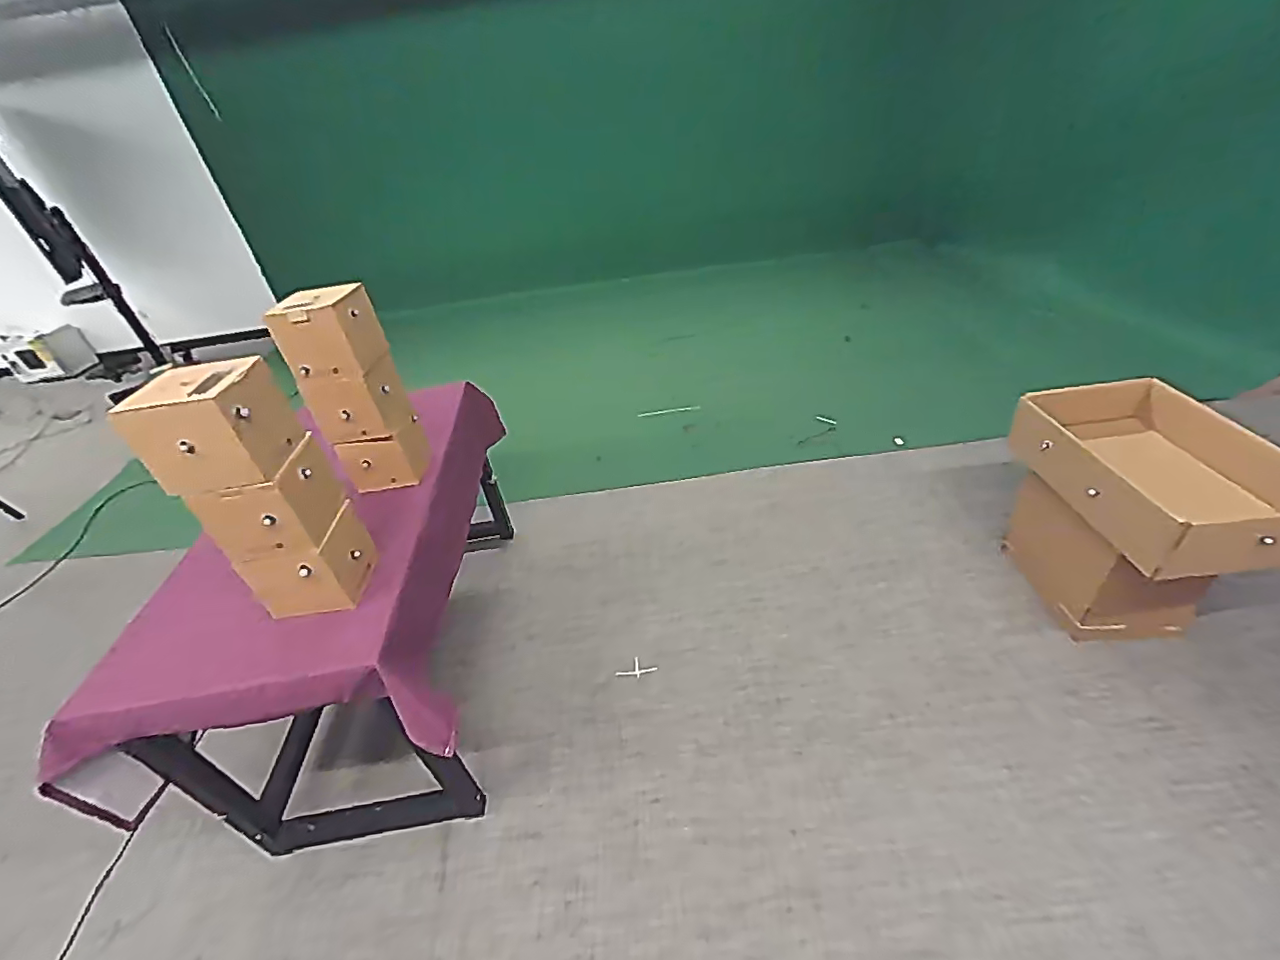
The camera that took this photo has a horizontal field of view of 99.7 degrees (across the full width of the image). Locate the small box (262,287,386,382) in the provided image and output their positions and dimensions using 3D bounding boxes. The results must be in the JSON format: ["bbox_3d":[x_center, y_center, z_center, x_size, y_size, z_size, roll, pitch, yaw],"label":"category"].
[{"bbox_3d":[-0.740,-0.343,1.294,0.168,0.176,0.179,-7,35,4],"label":"small box"}]

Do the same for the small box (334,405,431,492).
[{"bbox_3d":[-0.697,-0.080,1.487,0.168,0.176,0.179,-9,36,0],"label":"small box"}]

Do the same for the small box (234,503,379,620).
[{"bbox_3d":[-0.686,0.173,1.143,0.179,0.176,0.168,-9,36,2],"label":"small box"}]

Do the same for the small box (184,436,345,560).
[{"bbox_3d":[-0.710,0.041,1.050,0.168,0.176,0.179,-9,36,0],"label":"small box"}]

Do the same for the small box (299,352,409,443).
[{"bbox_3d":[-0.718,-0.206,1.384,0.168,0.176,0.179,-7,37,3],"label":"small box"}]
